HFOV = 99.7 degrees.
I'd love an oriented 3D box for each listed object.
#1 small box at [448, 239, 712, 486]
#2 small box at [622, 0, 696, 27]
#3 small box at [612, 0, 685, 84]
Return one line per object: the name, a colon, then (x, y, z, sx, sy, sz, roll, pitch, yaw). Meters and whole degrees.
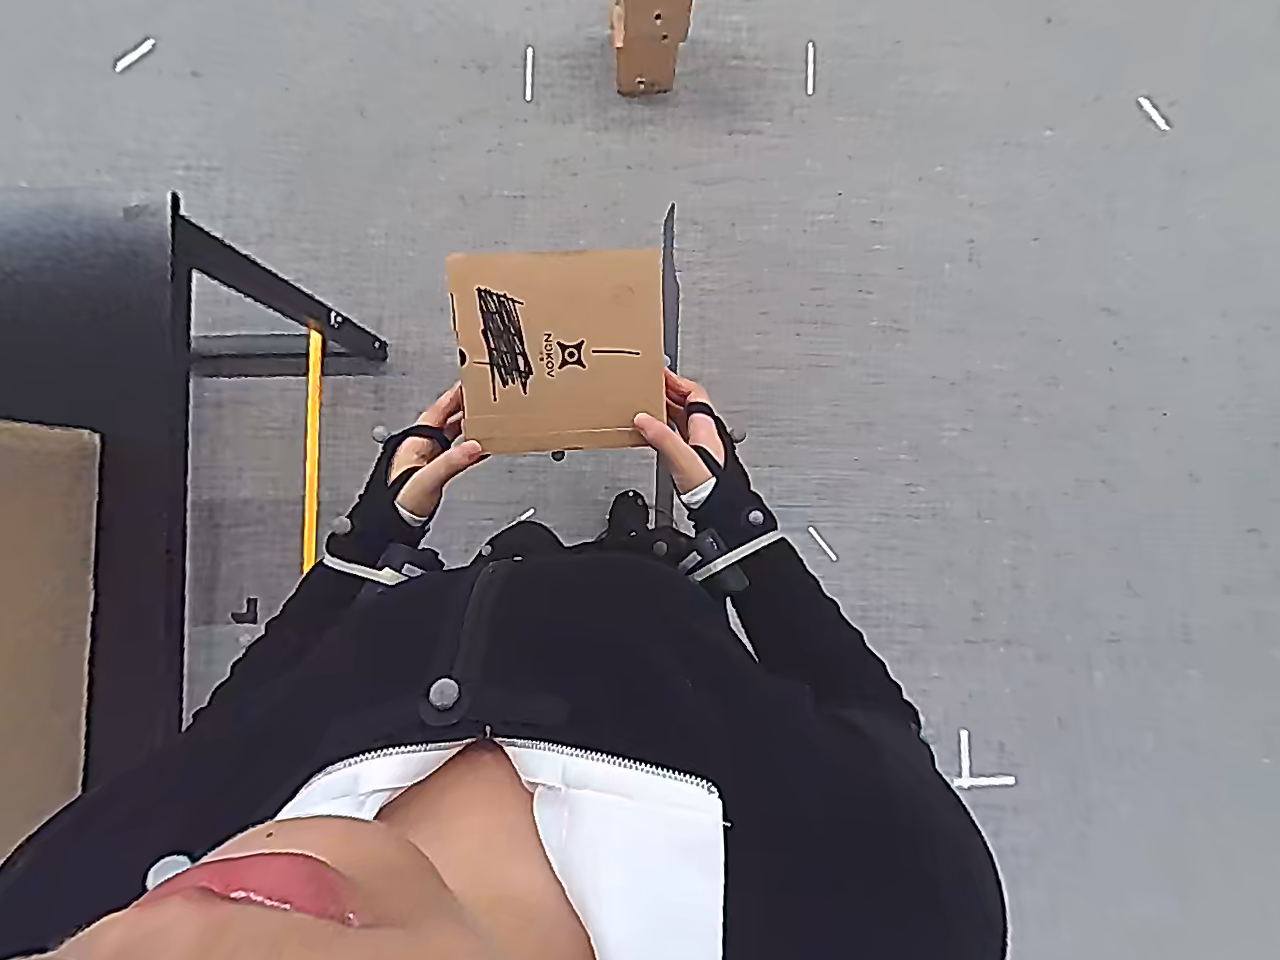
small box: (-0.041, -0.091, 0.449, 0.179, 0.176, 0.168, -3, 101, -3)
small box: (0.040, -1.156, 1.205, 0.168, 0.176, 0.179, -7, 89, -2)
small box: (0.017, -1.153, 1.368, 0.168, 0.176, 0.179, -6, 90, -1)
